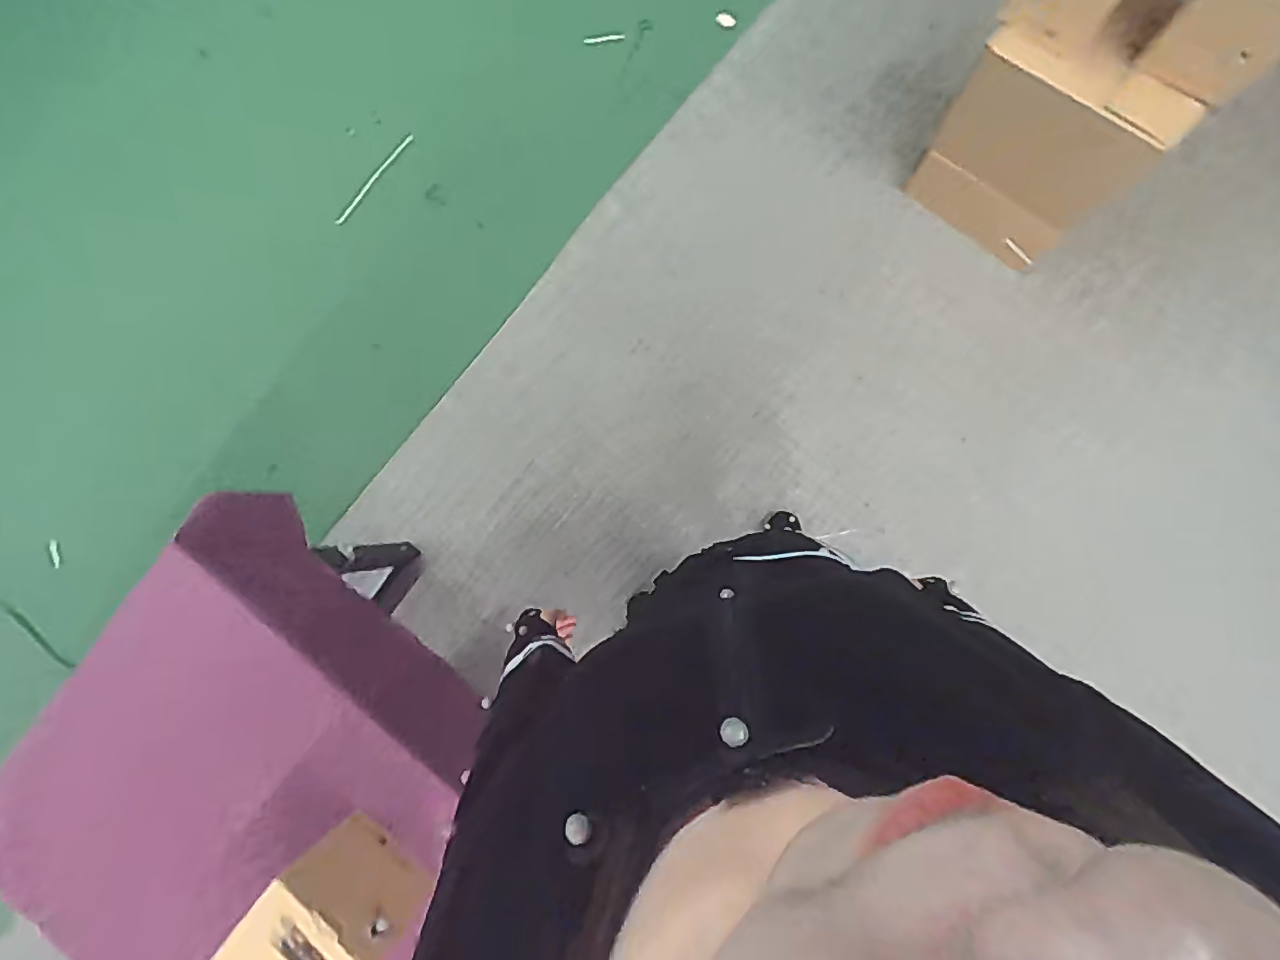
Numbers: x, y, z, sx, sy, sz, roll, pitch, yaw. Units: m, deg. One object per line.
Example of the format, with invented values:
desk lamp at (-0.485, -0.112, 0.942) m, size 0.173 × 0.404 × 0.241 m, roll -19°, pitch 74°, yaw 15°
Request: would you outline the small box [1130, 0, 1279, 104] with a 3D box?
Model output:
small box at (1.054, -0.822, 0.962) m, size 0.179 × 0.176 × 0.168 m, roll 38°, pitch 89°, yaw 9°
